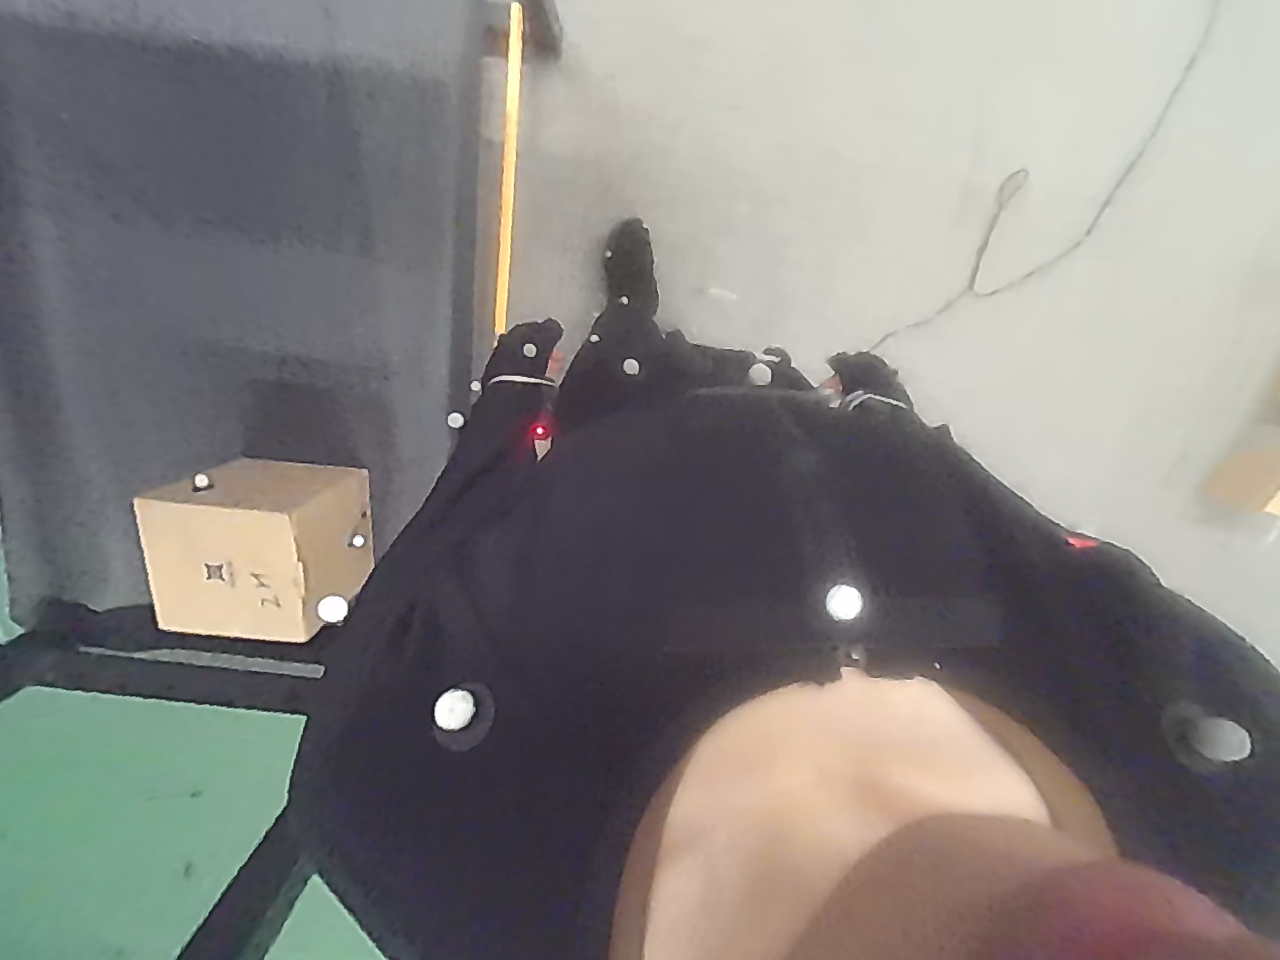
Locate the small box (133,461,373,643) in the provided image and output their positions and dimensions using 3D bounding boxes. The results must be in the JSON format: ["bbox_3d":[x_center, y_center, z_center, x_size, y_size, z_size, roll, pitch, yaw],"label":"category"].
[{"bbox_3d":[-0.465,0.079,0.679,0.179,0.176,0.168,5,108,-1],"label":"small box"}]
